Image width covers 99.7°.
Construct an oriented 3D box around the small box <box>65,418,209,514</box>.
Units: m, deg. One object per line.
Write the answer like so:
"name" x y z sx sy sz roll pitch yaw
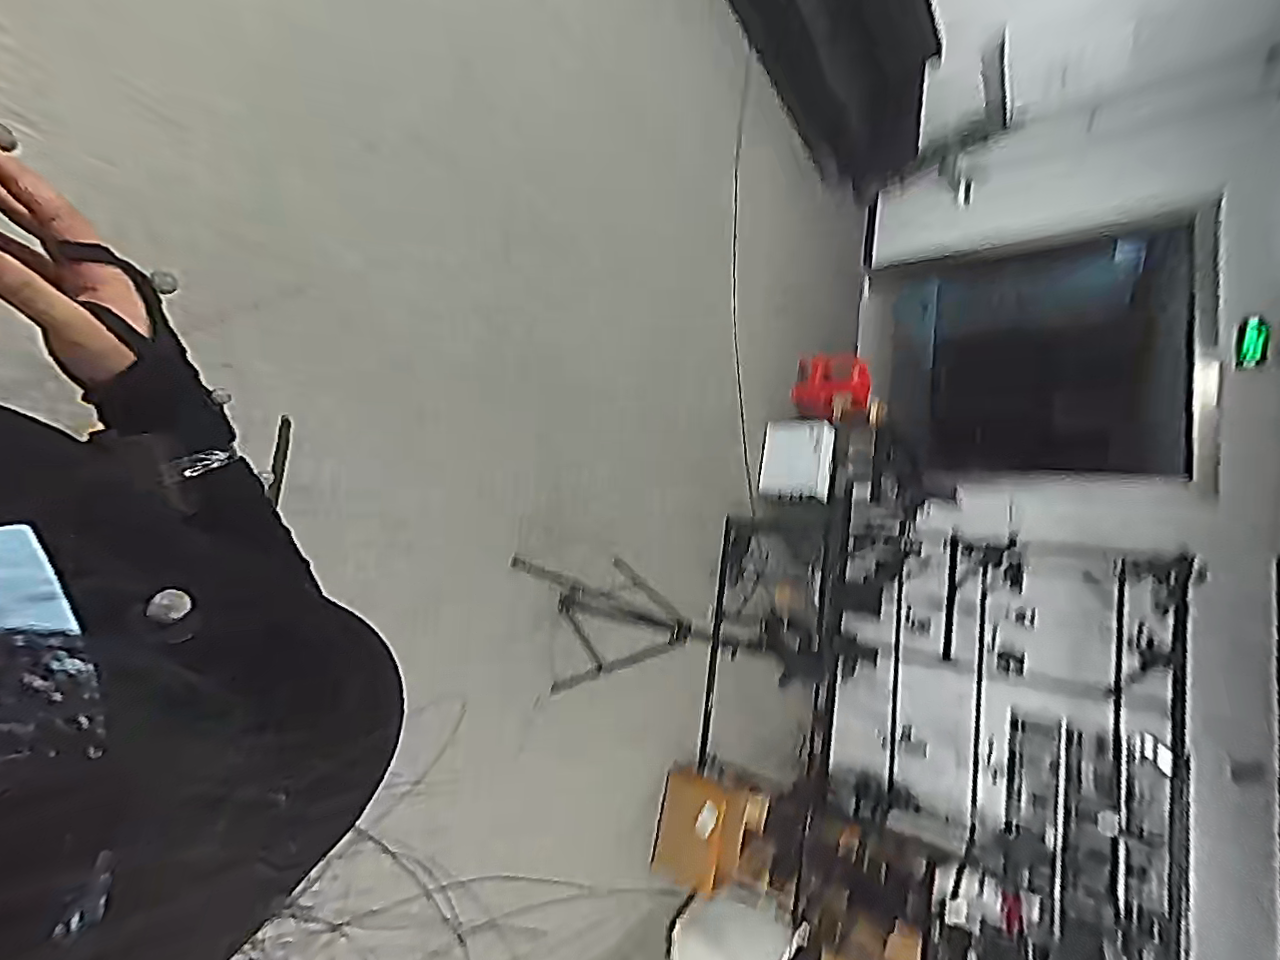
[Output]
"small box" -1.013 -0.024 1.088 0.179 0.176 0.168 12 83 -54
